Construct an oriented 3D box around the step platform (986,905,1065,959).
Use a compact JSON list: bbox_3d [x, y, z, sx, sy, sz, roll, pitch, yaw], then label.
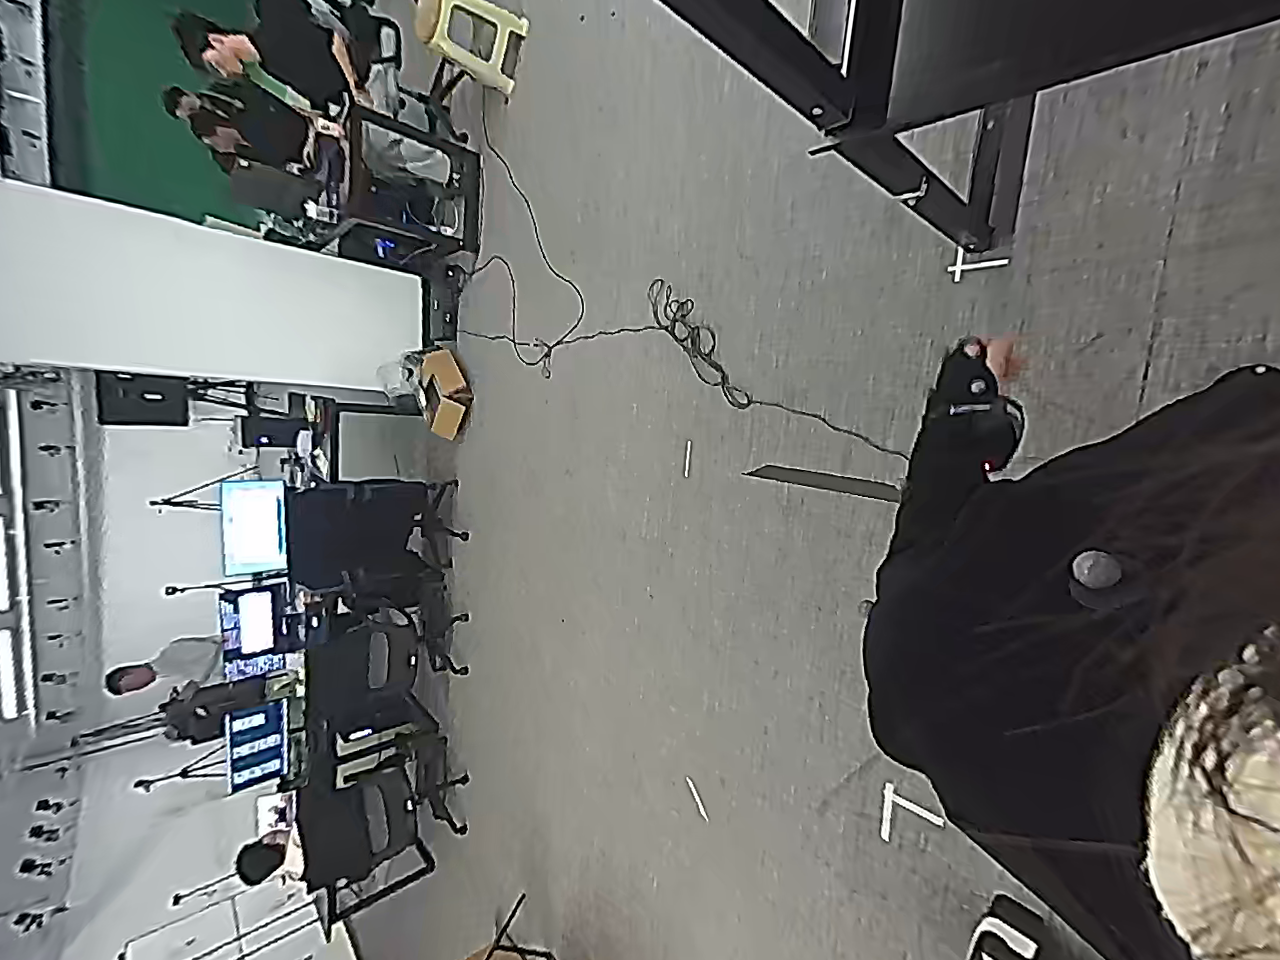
[{"bbox_3d":[1.044,1.230,1.039,0.684,0.204,0.286,20,106,45],"label":"step platform"}]
